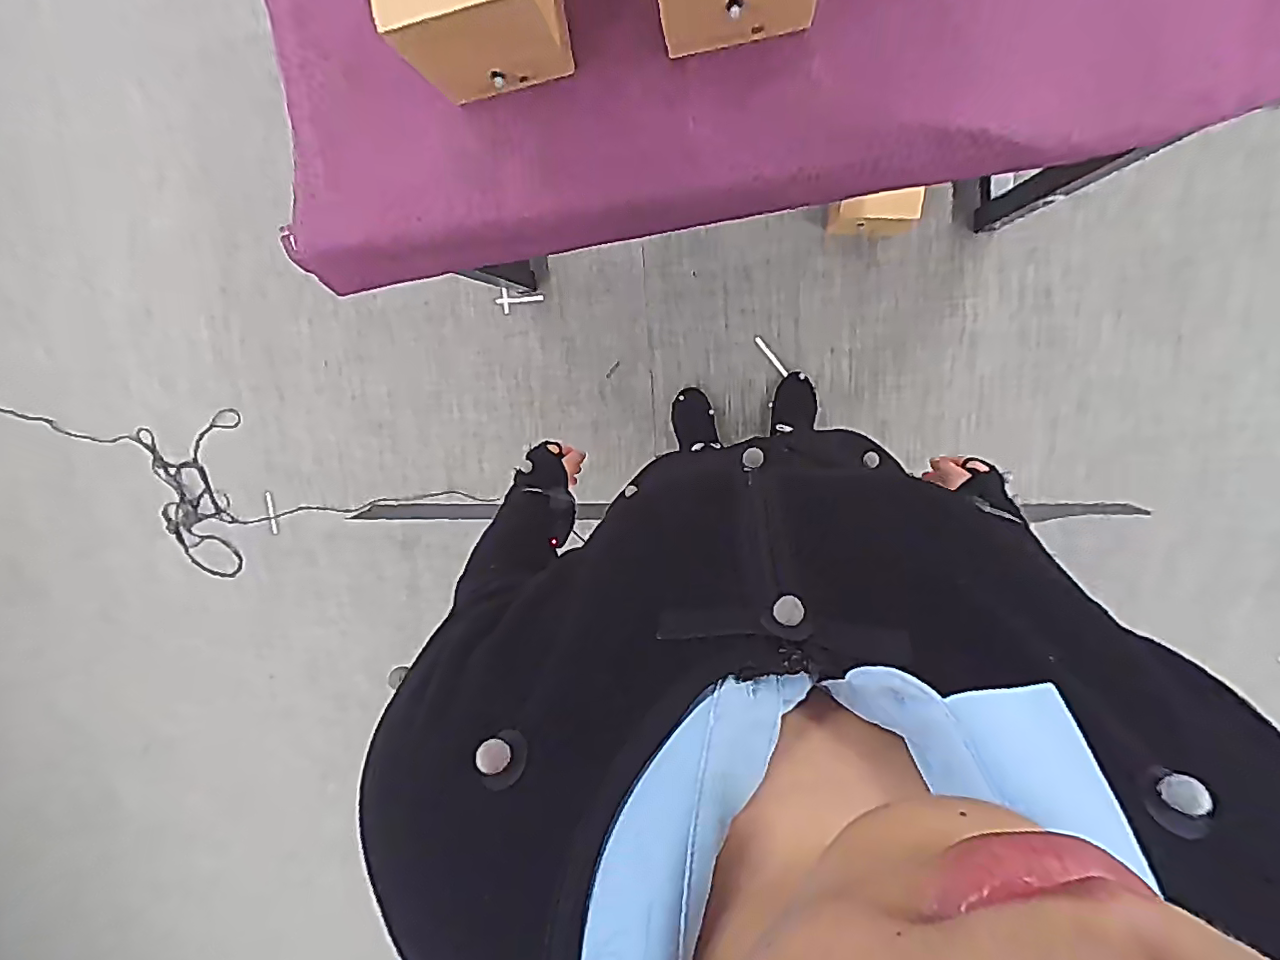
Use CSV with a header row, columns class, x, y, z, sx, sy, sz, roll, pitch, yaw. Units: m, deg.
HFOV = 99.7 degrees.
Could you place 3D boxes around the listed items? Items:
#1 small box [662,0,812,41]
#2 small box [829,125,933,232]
class,x,y,z,sx,sy,sz,roll,pitch,yaw
small box,0.096,-0.587,0.544,0.168,0.176,0.179,-5,101,9
small box,0.529,-0.667,1.214,0.168,0.176,0.179,6,103,8
